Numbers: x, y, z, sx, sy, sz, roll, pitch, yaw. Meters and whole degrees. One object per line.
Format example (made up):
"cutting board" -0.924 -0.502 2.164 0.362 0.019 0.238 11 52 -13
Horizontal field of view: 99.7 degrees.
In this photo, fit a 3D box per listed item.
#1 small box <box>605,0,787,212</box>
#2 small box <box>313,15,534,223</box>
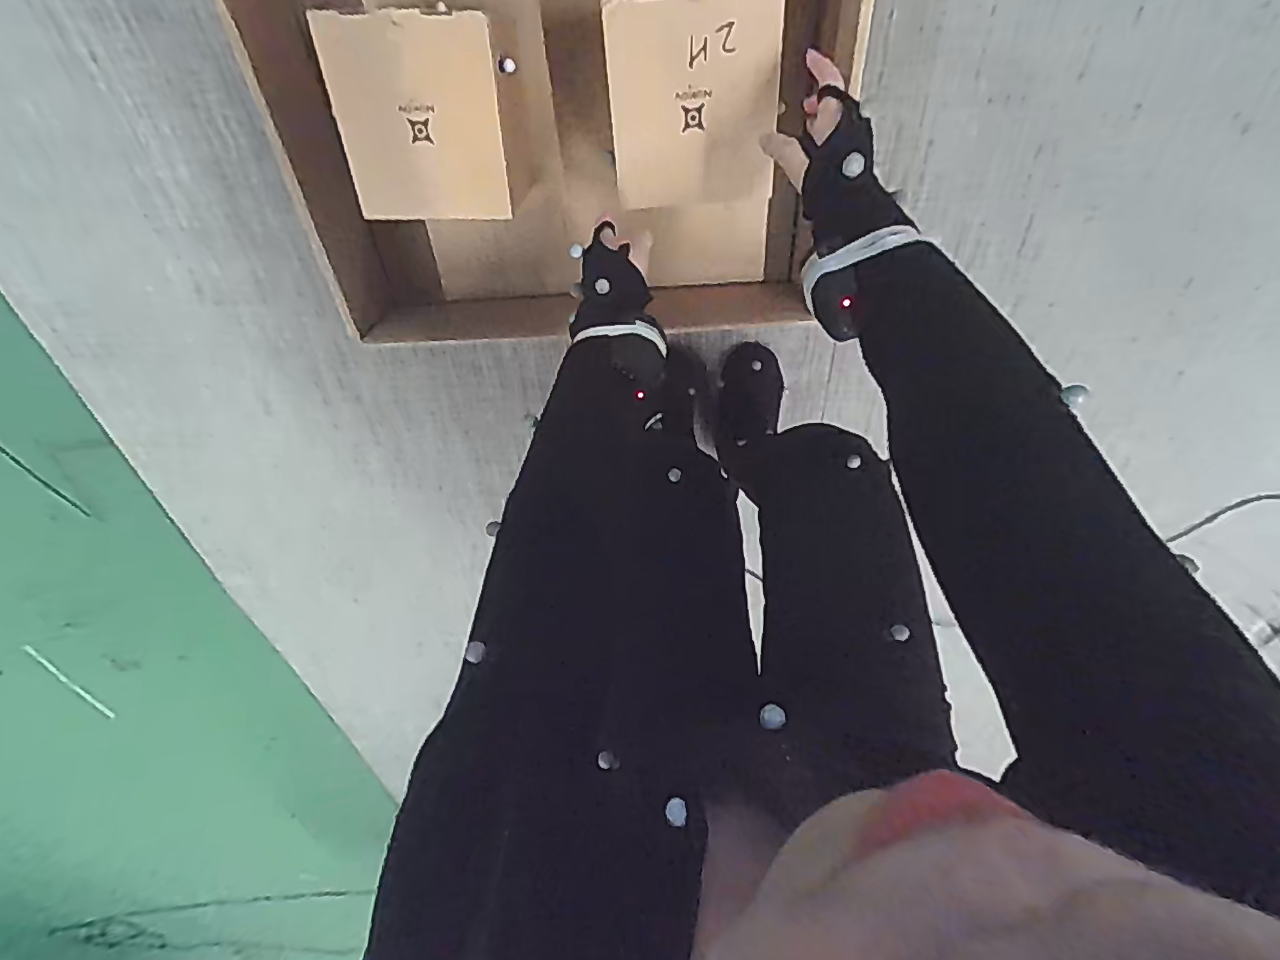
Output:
"small box" 0.055 -0.413 0.595 0.168 0.176 0.179 -3 128 2
"small box" -0.219 -0.403 0.608 0.168 0.176 0.179 0 127 -1
